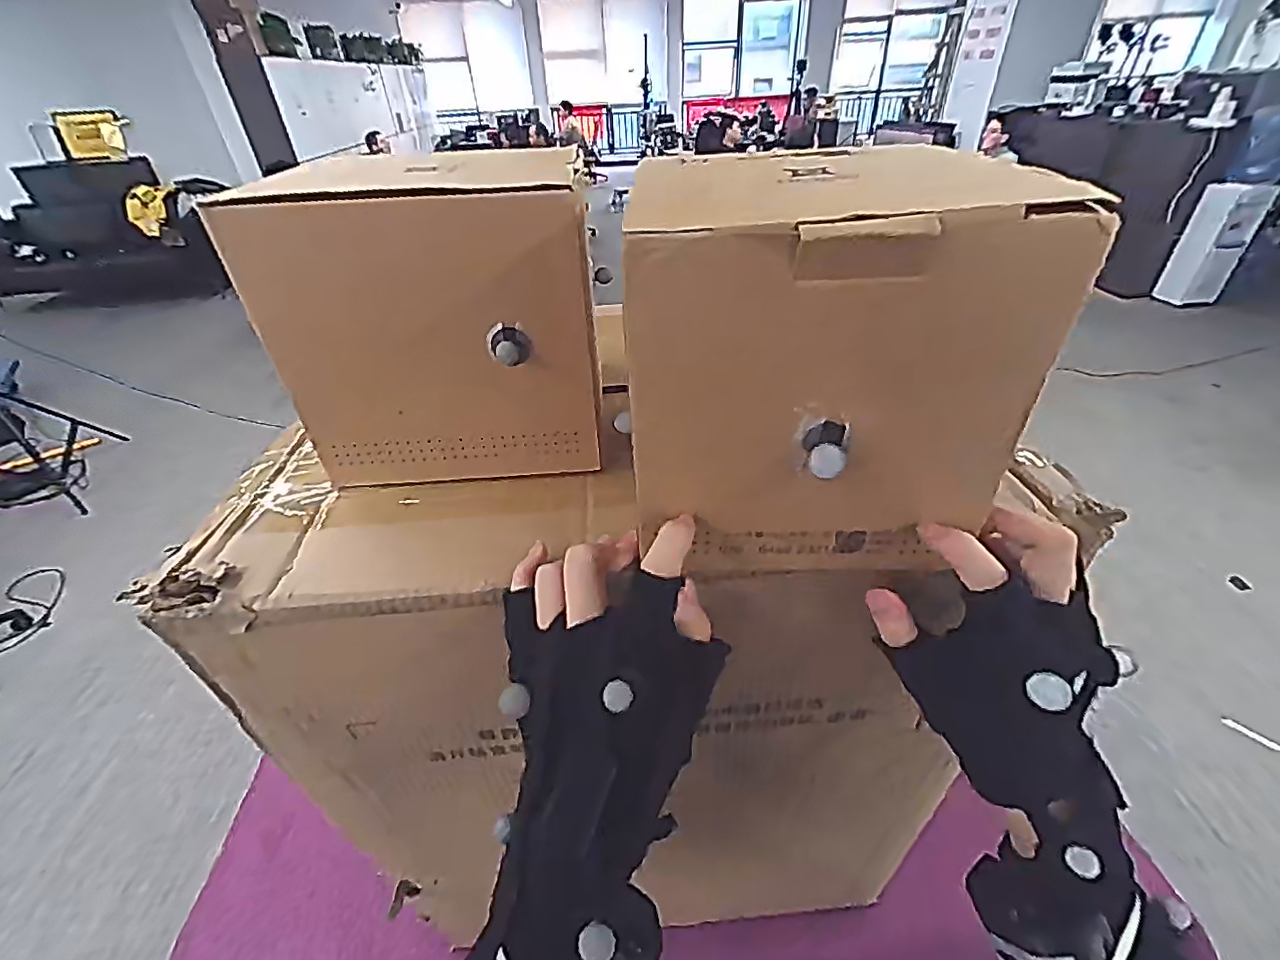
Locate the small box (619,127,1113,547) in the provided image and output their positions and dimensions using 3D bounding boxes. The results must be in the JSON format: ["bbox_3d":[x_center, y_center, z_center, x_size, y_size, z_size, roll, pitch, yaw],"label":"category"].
[{"bbox_3d":[0.084,-0.077,0.294,0.168,0.176,0.179,-1,38,4],"label":"small box"}]

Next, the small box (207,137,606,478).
[{"bbox_3d":[-0.114,-0.117,0.359,0.179,0.176,0.168,-5,36,-2],"label":"small box"}]
